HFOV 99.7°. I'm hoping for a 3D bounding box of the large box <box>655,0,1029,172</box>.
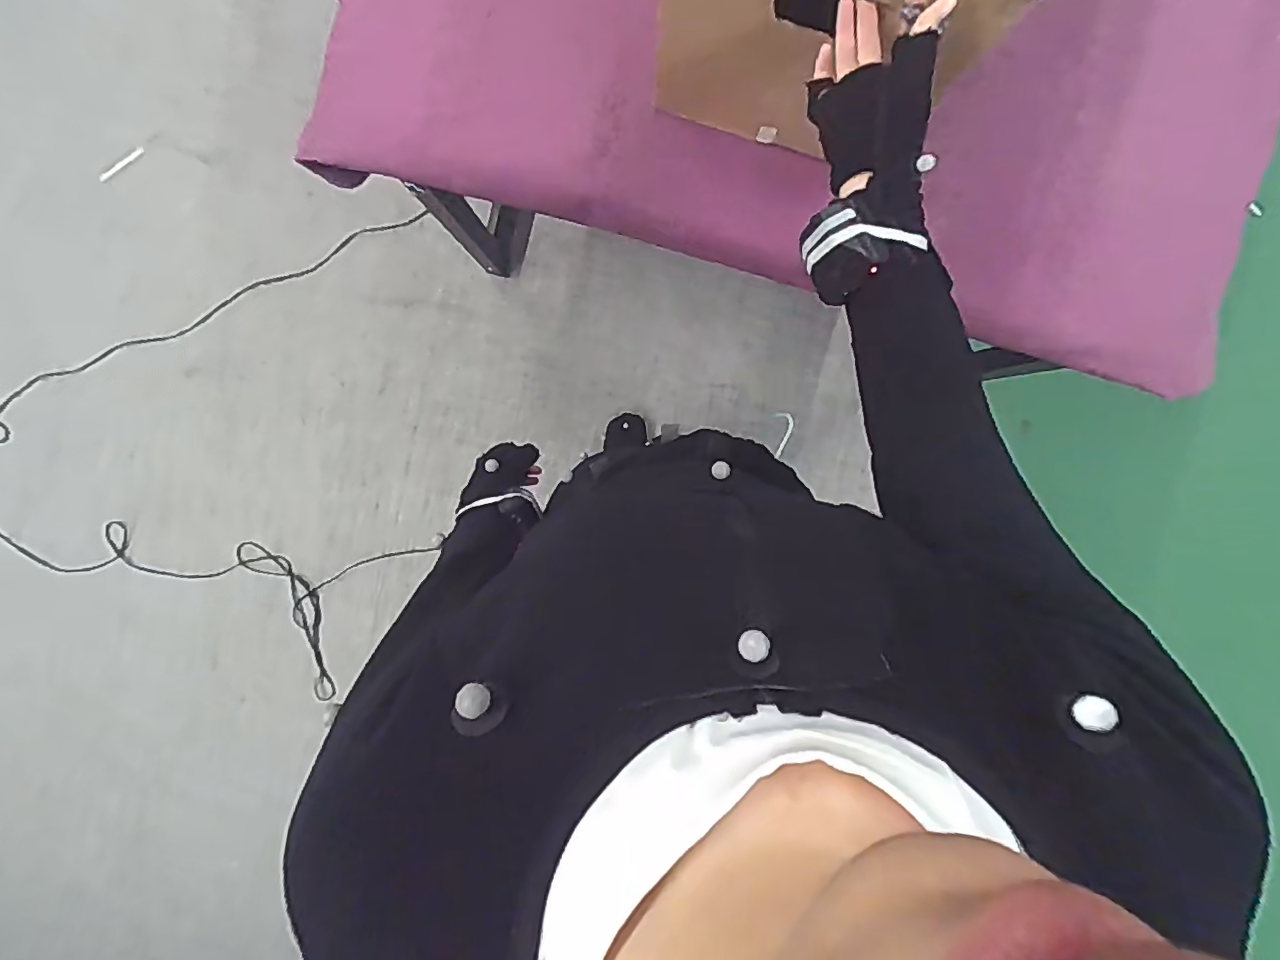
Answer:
[{"bbox_3d":[0.218,-0.629,0.562,0.320,0.320,0.408,16,96,-1],"label":"large box"}]
